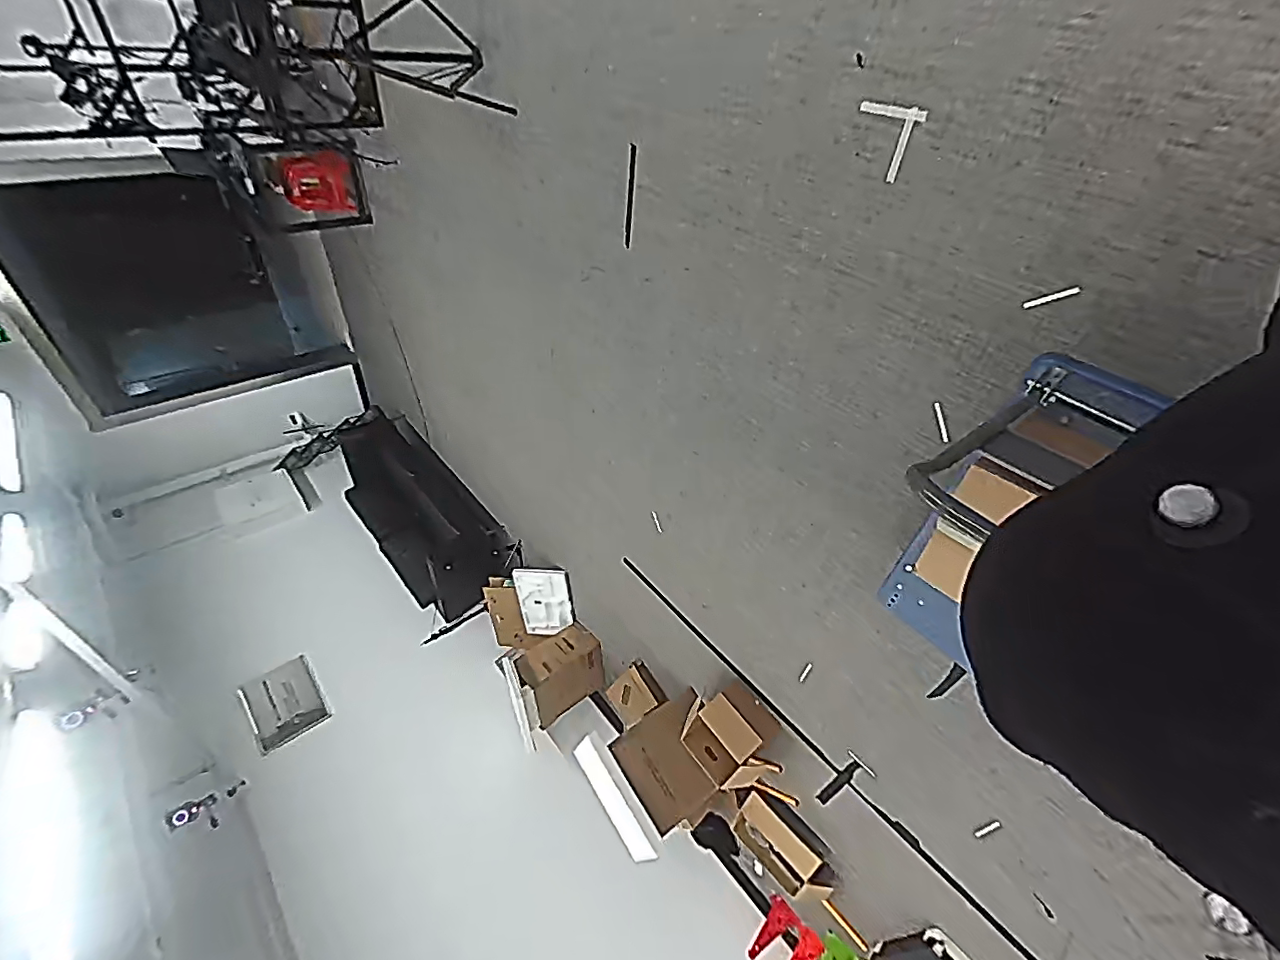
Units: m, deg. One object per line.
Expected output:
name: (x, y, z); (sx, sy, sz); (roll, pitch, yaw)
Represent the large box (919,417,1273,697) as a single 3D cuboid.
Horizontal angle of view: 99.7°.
large box: (0.873, 0.128, 1.080); (0.408, 0.320, 0.320); (39, 139, 35)
